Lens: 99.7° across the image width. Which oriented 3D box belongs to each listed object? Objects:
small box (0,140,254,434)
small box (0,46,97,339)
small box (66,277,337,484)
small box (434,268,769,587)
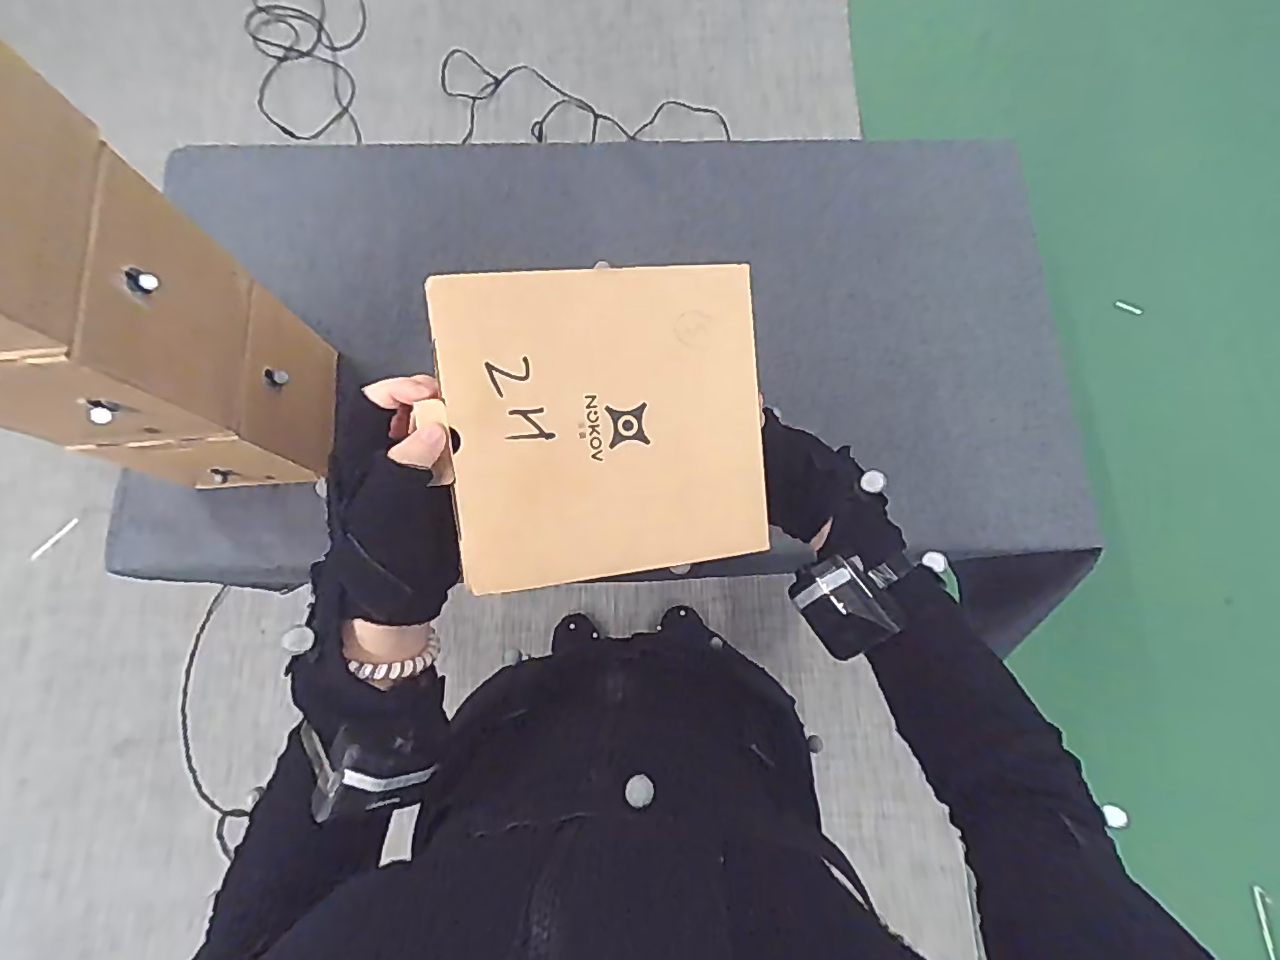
[{"bbox_3d":[-0.462,-0.141,0.451,0.168,0.176,0.179,-3,77,-3],"label":"small box"},{"bbox_3d":[-0.460,-0.186,0.293,0.168,0.176,0.179,-5,77,-4],"label":"small box"},{"bbox_3d":[-0.467,-0.102,0.609,0.168,0.176,0.179,-4,77,-2],"label":"small box"},{"bbox_3d":[-0.030,-0.038,0.372,0.179,0.176,0.168,-6,96,-11],"label":"small box"}]
